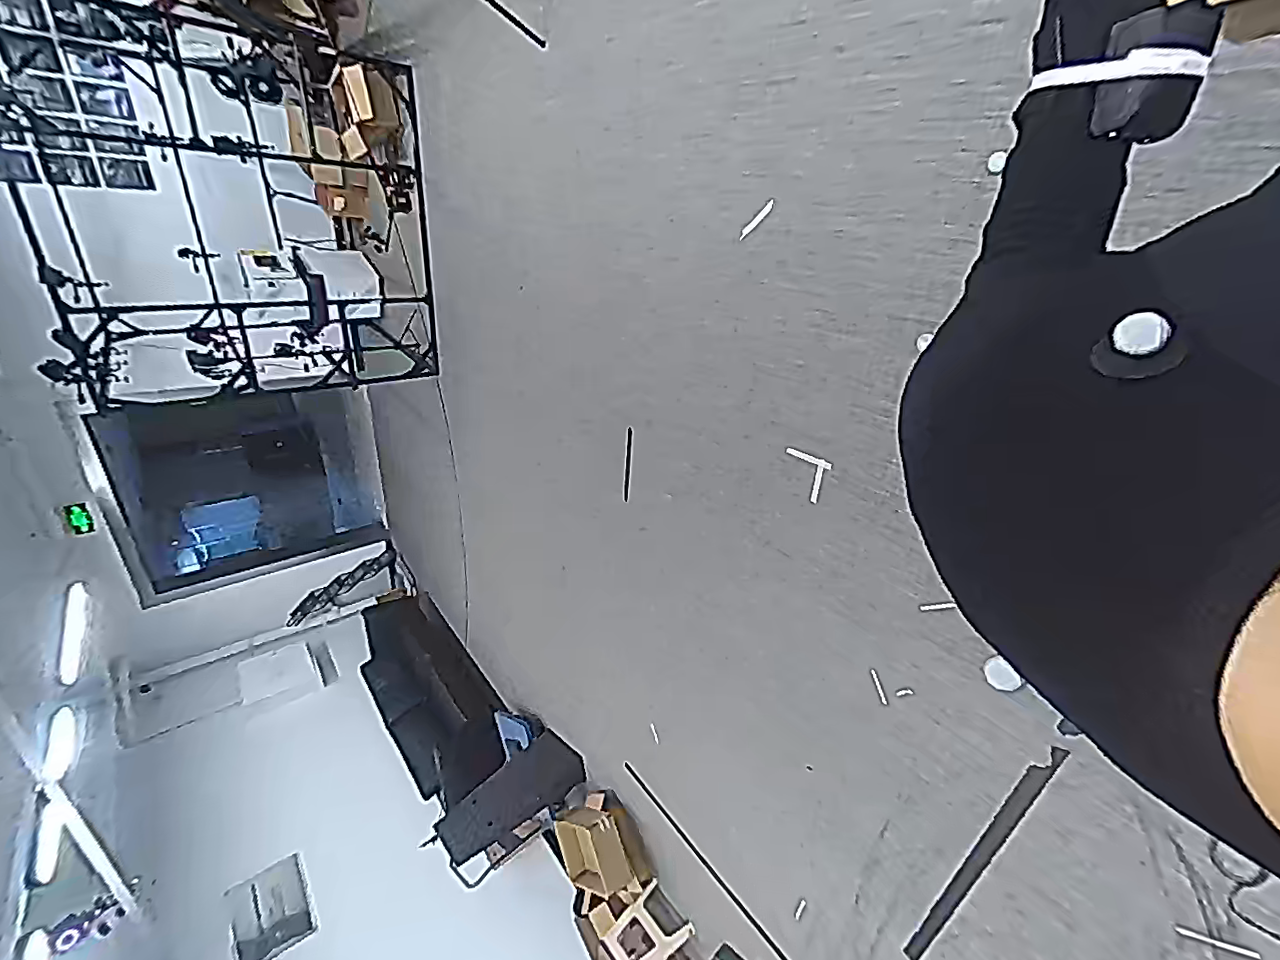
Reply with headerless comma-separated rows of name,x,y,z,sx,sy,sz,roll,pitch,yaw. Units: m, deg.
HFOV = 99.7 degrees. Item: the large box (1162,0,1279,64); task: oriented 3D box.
large box,0.544,-0.428,0.225,0.408,0.320,0.320,19,128,45
